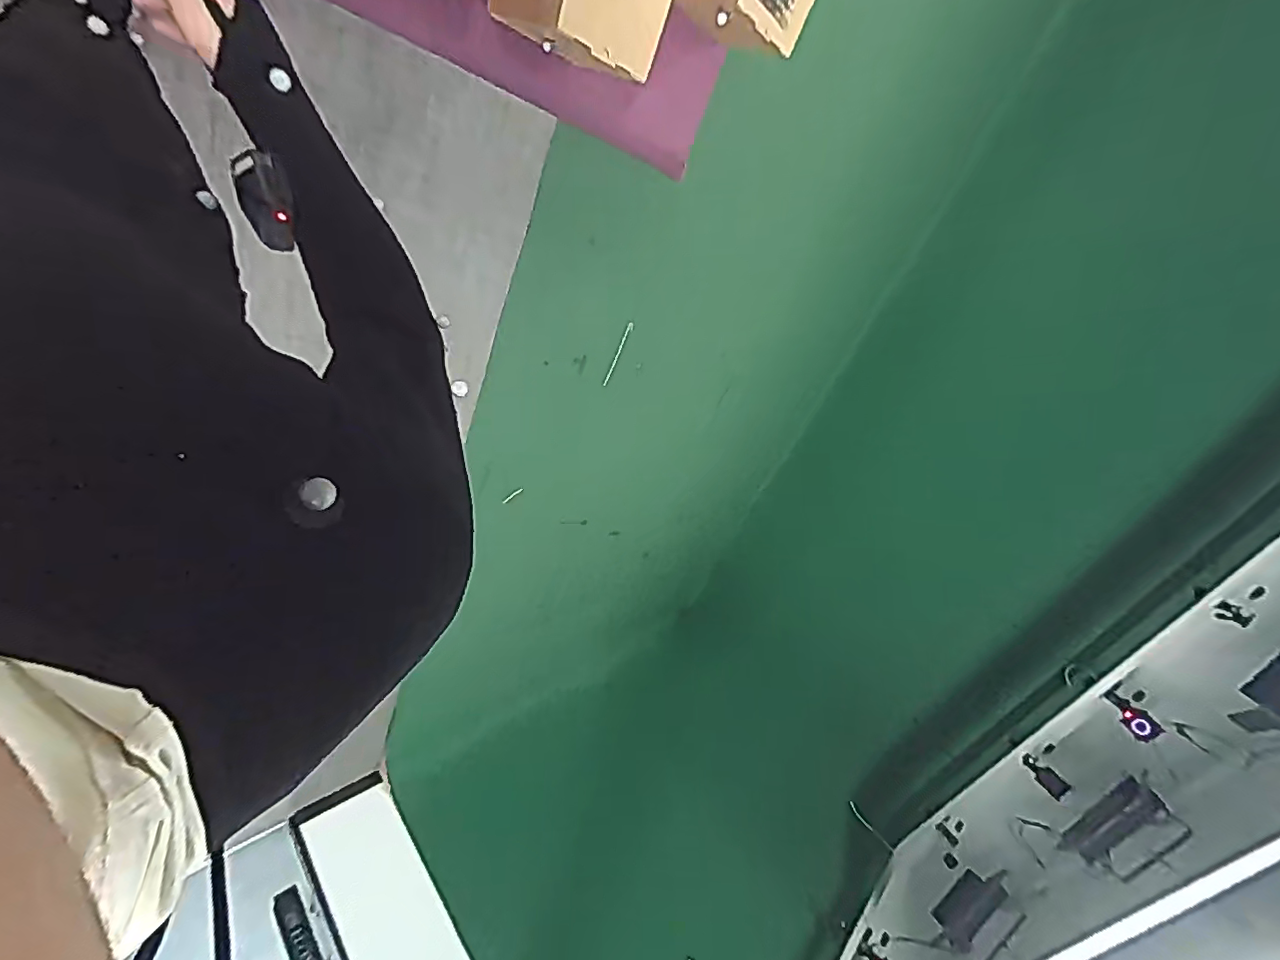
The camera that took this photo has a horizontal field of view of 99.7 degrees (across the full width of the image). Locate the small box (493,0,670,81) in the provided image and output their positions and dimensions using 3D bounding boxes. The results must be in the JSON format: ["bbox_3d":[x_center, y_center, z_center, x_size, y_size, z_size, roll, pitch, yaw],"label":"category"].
[{"bbox_3d":[-0.072,-0.674,0.710,0.168,0.176,0.179,-11,135,-48],"label":"small box"}]
